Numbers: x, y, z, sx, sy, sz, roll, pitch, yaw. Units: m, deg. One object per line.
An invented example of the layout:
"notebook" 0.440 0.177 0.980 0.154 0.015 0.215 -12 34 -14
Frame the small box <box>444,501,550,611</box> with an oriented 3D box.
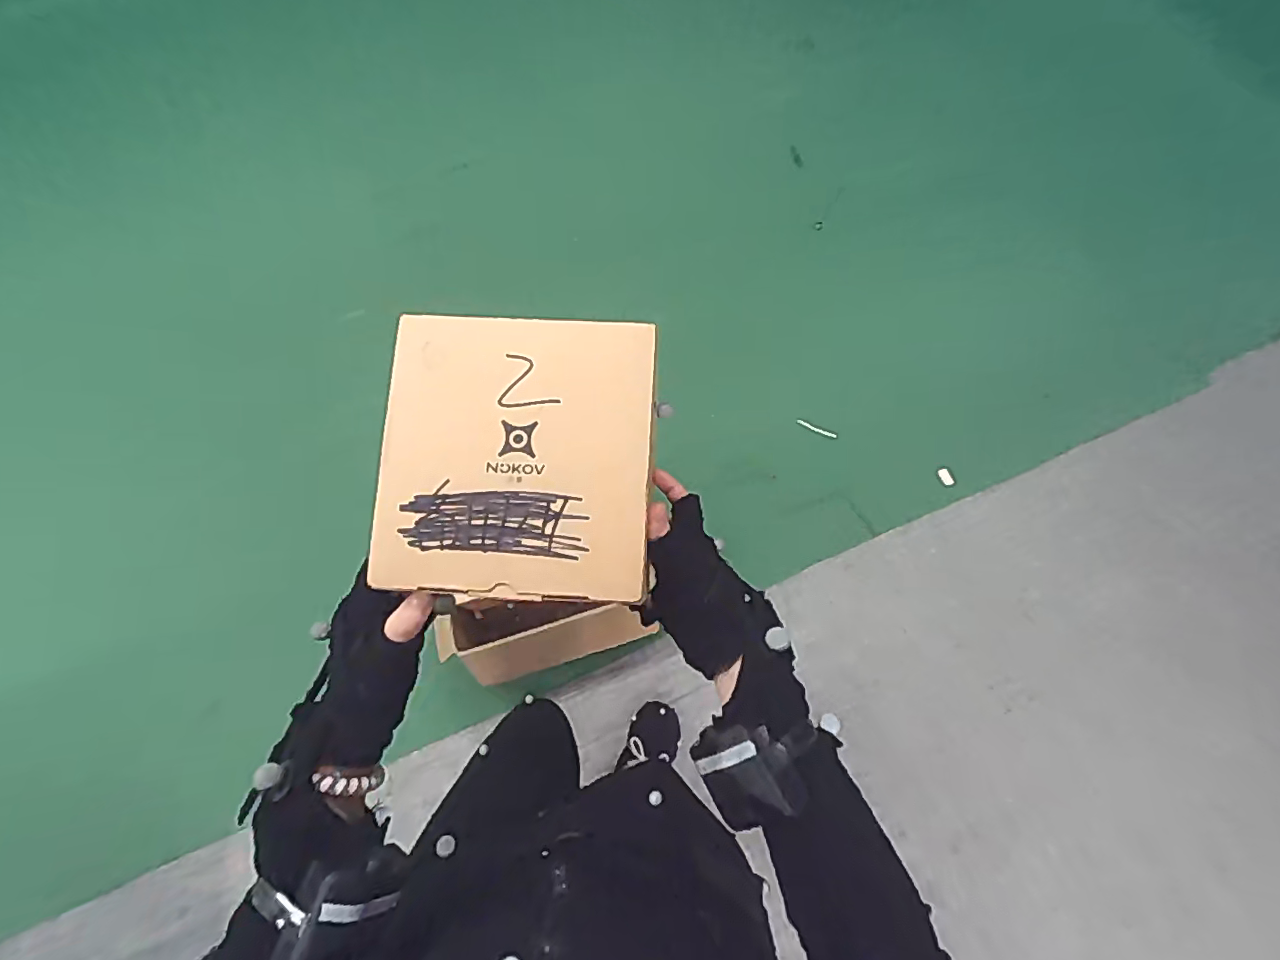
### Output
"small box" -0.297 0.166 1.142 0.168 0.176 0.179 -14 71 -3
